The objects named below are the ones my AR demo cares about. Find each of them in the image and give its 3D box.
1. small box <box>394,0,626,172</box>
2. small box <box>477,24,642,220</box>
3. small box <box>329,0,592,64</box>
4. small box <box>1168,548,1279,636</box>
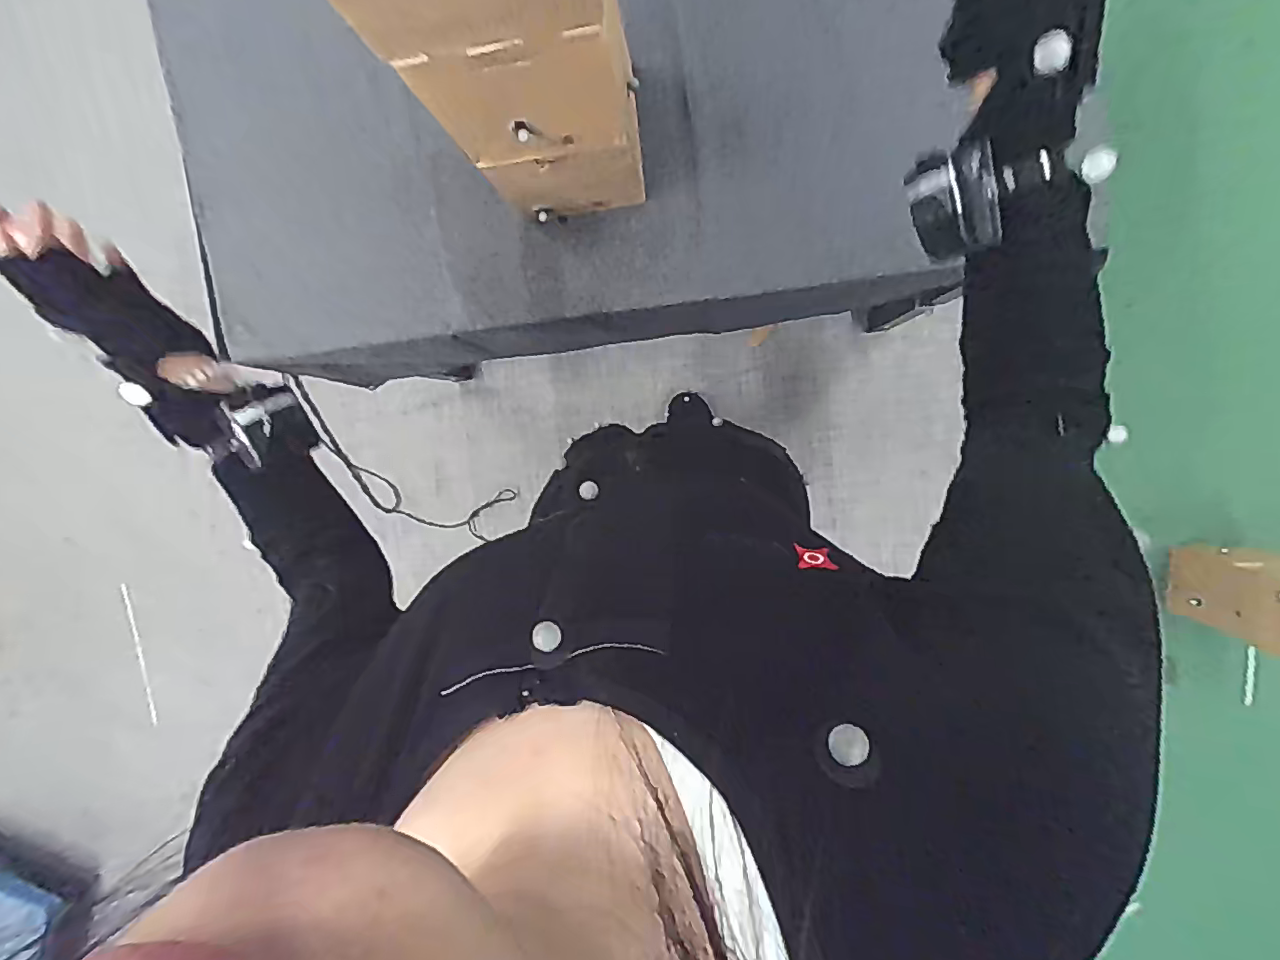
[{"bbox_3d":[-0.109,-0.412,0.481,0.168,0.176,0.179,-6,96,7],"label":"small box"},{"bbox_3d":[-0.093,-0.429,0.641,0.168,0.176,0.179,-6,94,7],"label":"small box"},{"bbox_3d":[-0.124,-0.392,0.318,0.179,0.176,0.168,-4,95,6],"label":"small box"},{"bbox_3d":[1.416,0.260,1.282,0.179,0.176,0.168,0,96,6],"label":"small box"}]
